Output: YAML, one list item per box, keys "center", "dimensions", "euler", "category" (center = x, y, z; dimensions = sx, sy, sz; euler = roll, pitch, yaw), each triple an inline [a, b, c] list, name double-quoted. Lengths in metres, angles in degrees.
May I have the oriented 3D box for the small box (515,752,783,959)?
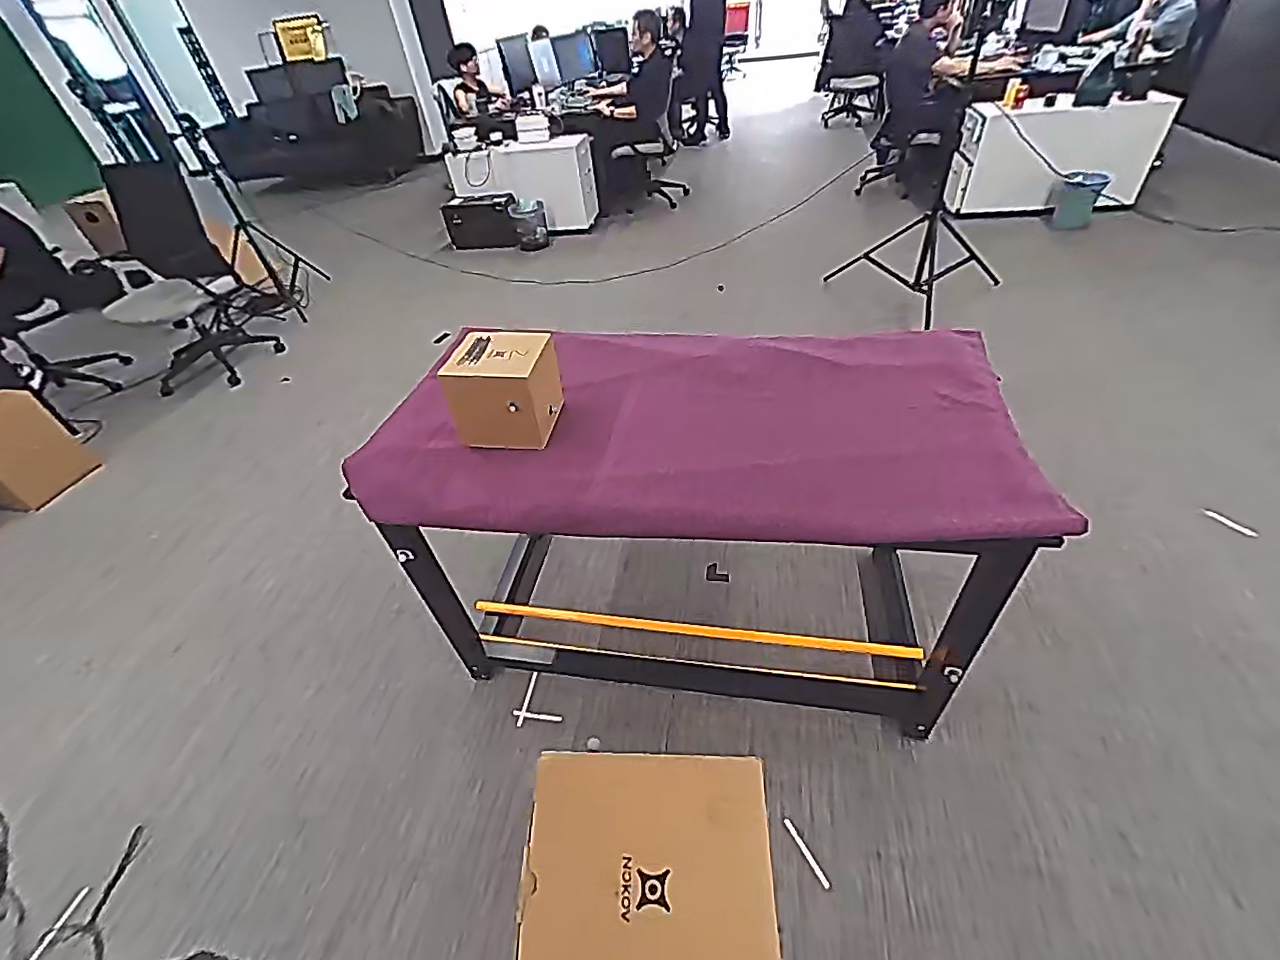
- center: [0.010, 0.321, 0.435]
  dimensions: [0.179, 0.176, 0.168]
  euler: [-2, 56, 4]
  category: "small box"
